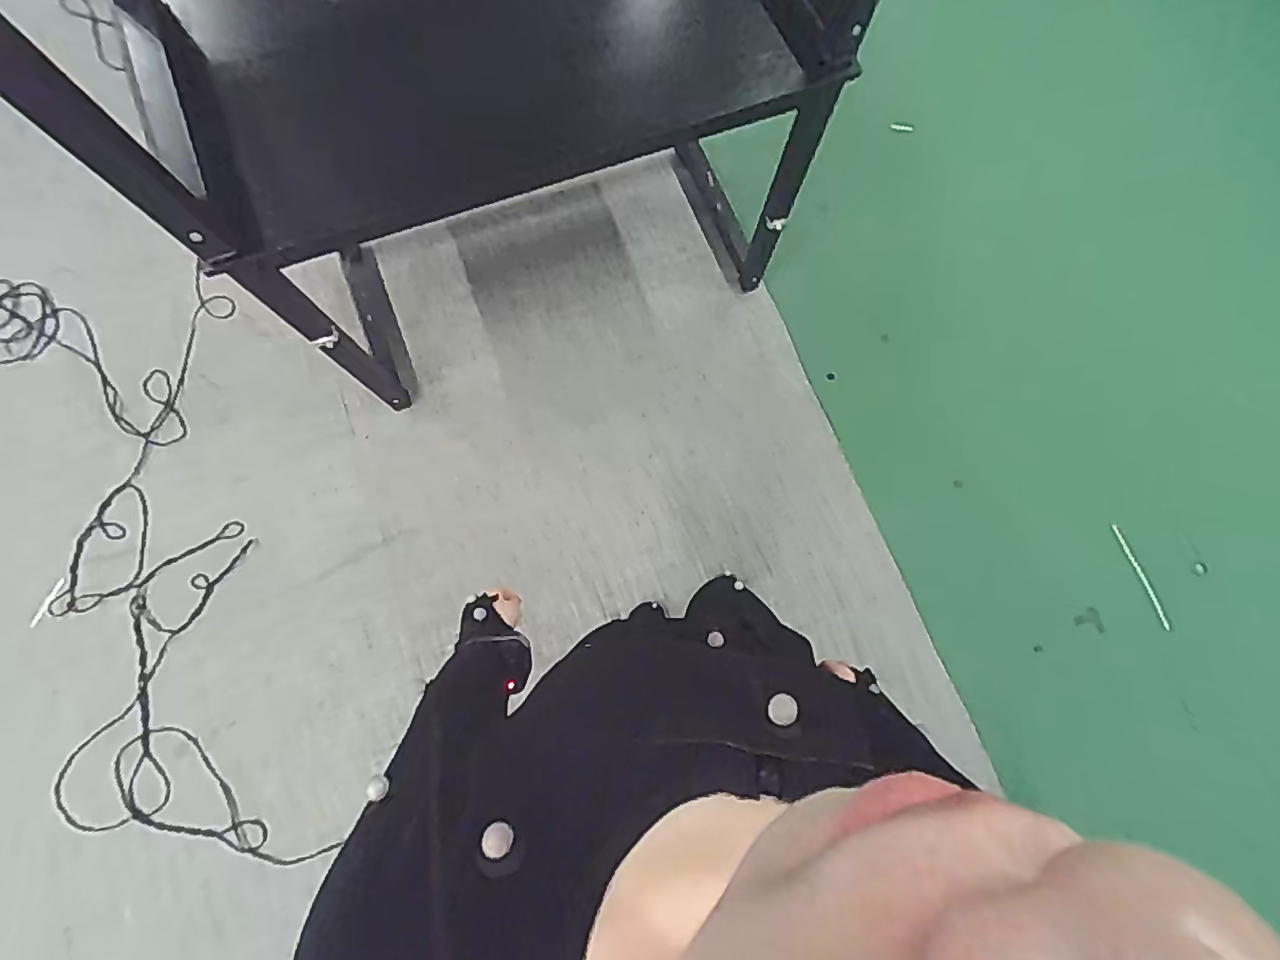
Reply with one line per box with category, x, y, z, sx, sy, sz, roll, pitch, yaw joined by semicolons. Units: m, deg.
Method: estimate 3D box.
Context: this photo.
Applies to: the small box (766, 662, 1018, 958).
small box;0.241;0.292;0.526;0.179;0.176;0.168;20;87;37
